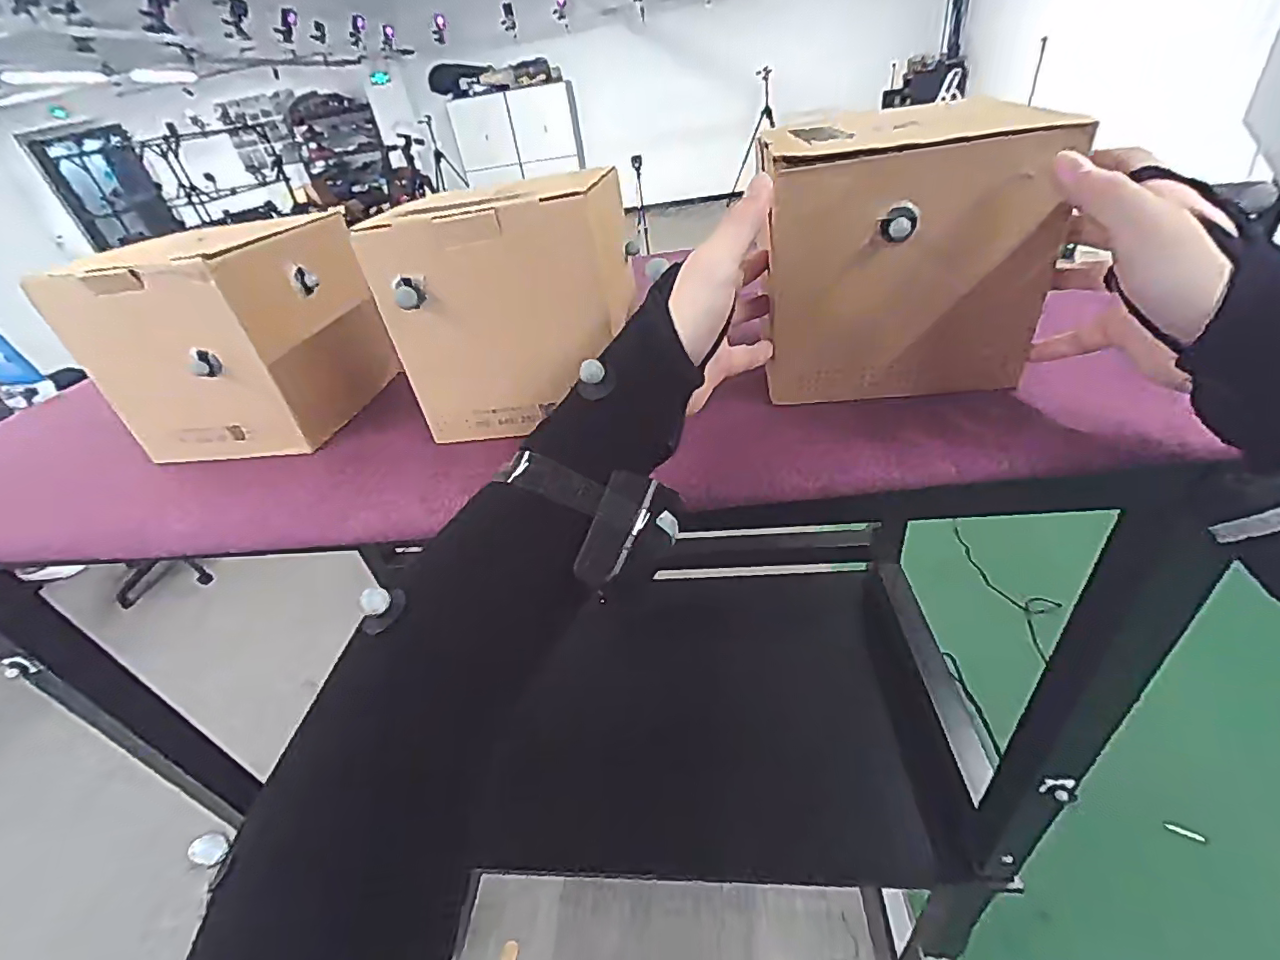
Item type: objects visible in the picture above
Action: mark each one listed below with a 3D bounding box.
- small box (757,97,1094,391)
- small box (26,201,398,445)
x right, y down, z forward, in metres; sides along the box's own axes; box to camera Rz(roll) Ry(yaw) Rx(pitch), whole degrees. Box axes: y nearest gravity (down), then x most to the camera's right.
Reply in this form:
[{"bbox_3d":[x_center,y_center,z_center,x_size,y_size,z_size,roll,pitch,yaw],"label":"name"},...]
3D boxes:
[{"bbox_3d":[0.185,-0.179,0.418,0.179,0.176,0.168,-2,38,10],"label":"small box"},{"bbox_3d":[-0.358,-0.141,0.499,0.168,0.176,0.179,-2,35,10],"label":"small box"}]
